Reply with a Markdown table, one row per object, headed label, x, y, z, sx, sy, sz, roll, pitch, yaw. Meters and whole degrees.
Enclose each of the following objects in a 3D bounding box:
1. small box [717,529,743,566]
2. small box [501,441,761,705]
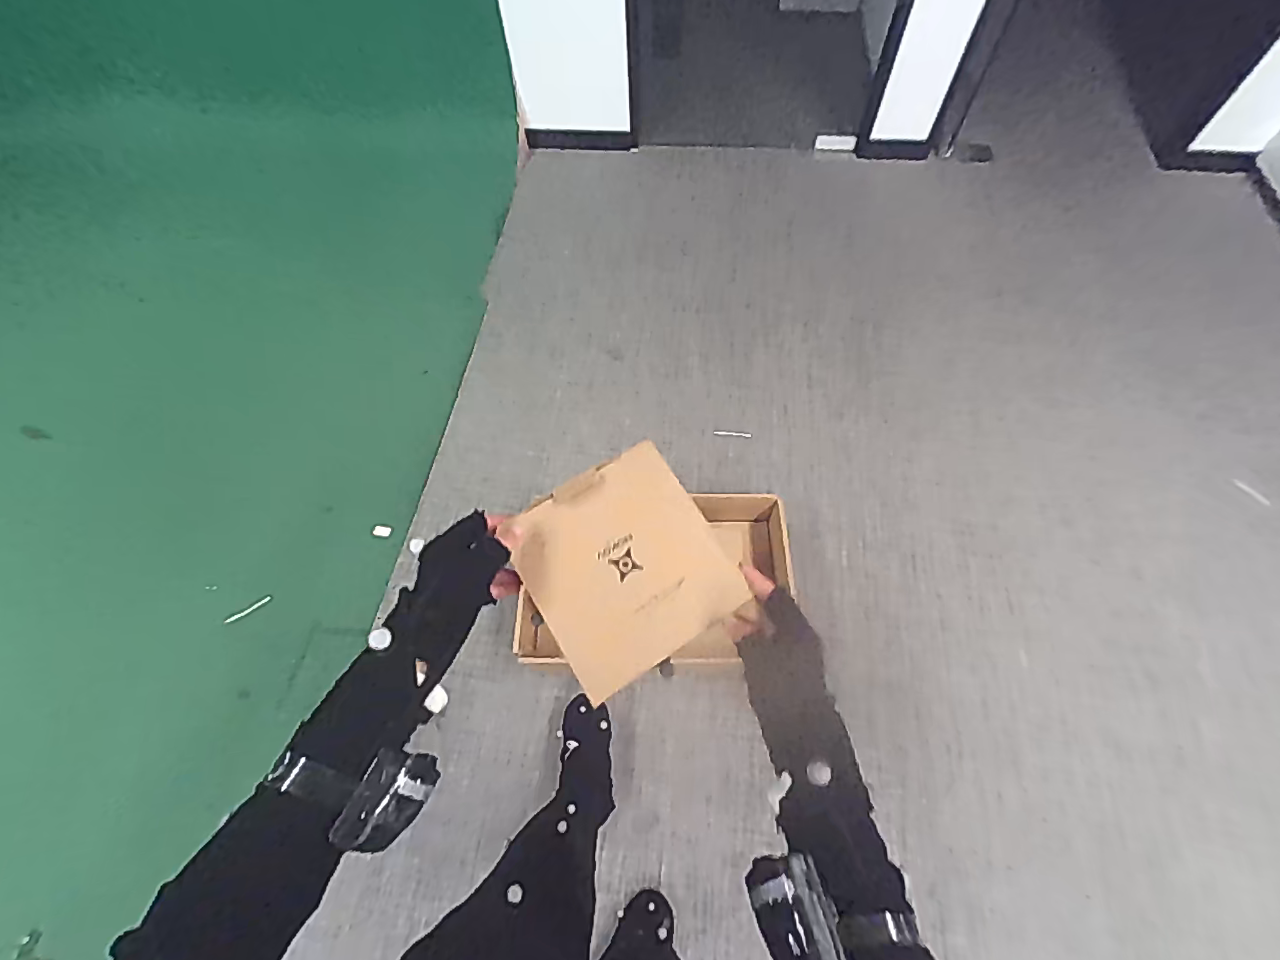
| label | x | y | z | sx | sy | sz | roll | pitch | yaw |
| --- | --- | --- | --- | --- | --- | --- | --- | --- | --- |
| small box | 0.148 | 0.223 | 1.287 | 0.179 | 0.176 | 0.168 | 1 | 61 | 3 |
| small box | -0.011 | 0.097 | 0.540 | 0.168 | 0.176 | 0.179 | -33 | 75 | -10 |
